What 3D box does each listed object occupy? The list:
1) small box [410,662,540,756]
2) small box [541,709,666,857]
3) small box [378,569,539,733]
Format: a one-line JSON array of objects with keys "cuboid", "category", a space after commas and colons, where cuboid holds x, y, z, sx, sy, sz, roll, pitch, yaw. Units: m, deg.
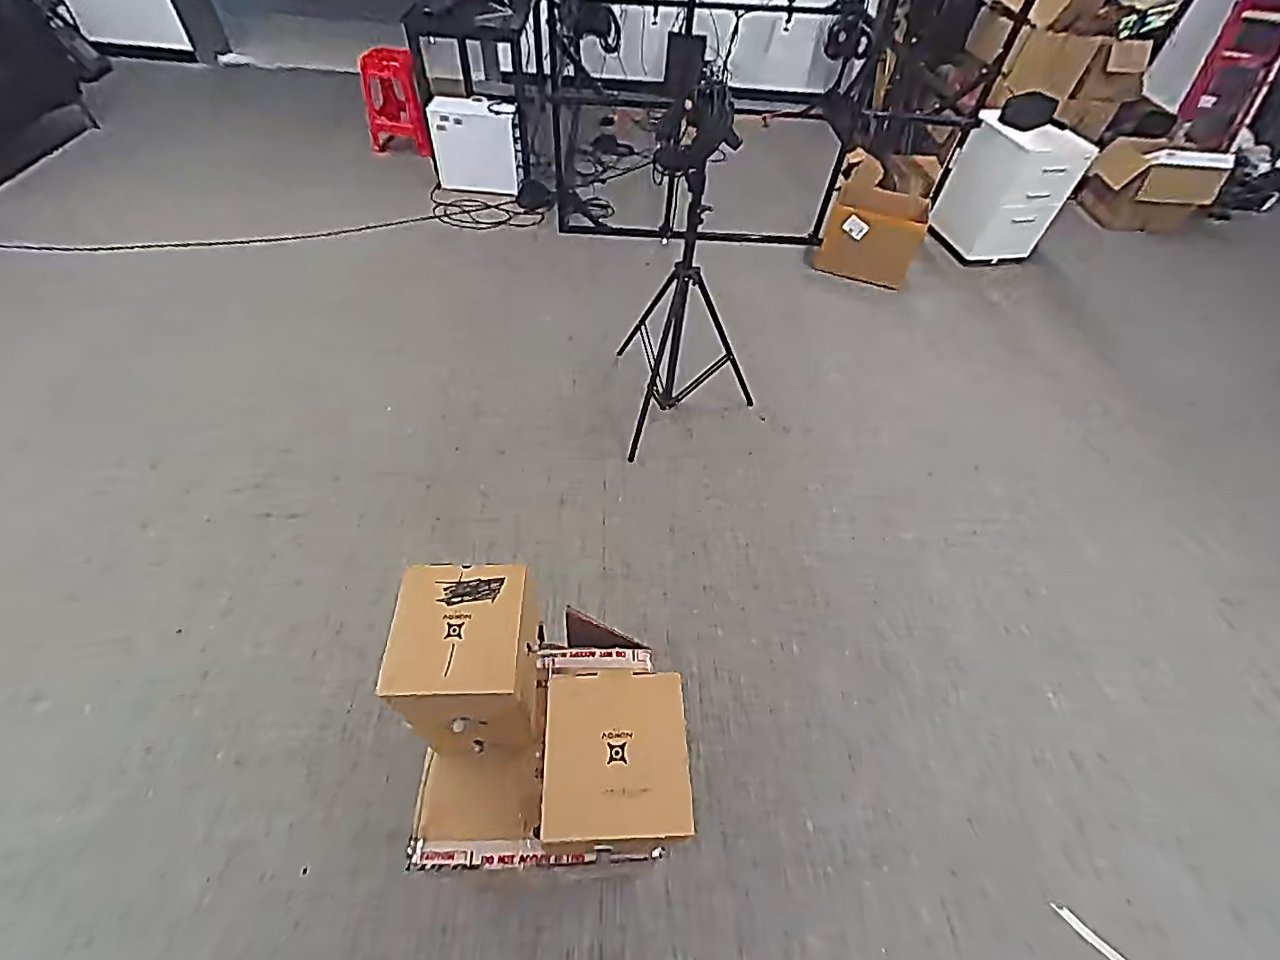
[{"cuboid": [-0.257, 0.337, 0.887, 0.168, 0.176, 0.179, -3, 54, -5], "category": "small box"}, {"cuboid": [-0.053, 0.458, 0.811, 0.168, 0.176, 0.179, 1, 52, -5], "category": "small box"}, {"cuboid": [-0.235, 0.240, 0.755, 0.168, 0.176, 0.179, 0, 54, -3], "category": "small box"}]
